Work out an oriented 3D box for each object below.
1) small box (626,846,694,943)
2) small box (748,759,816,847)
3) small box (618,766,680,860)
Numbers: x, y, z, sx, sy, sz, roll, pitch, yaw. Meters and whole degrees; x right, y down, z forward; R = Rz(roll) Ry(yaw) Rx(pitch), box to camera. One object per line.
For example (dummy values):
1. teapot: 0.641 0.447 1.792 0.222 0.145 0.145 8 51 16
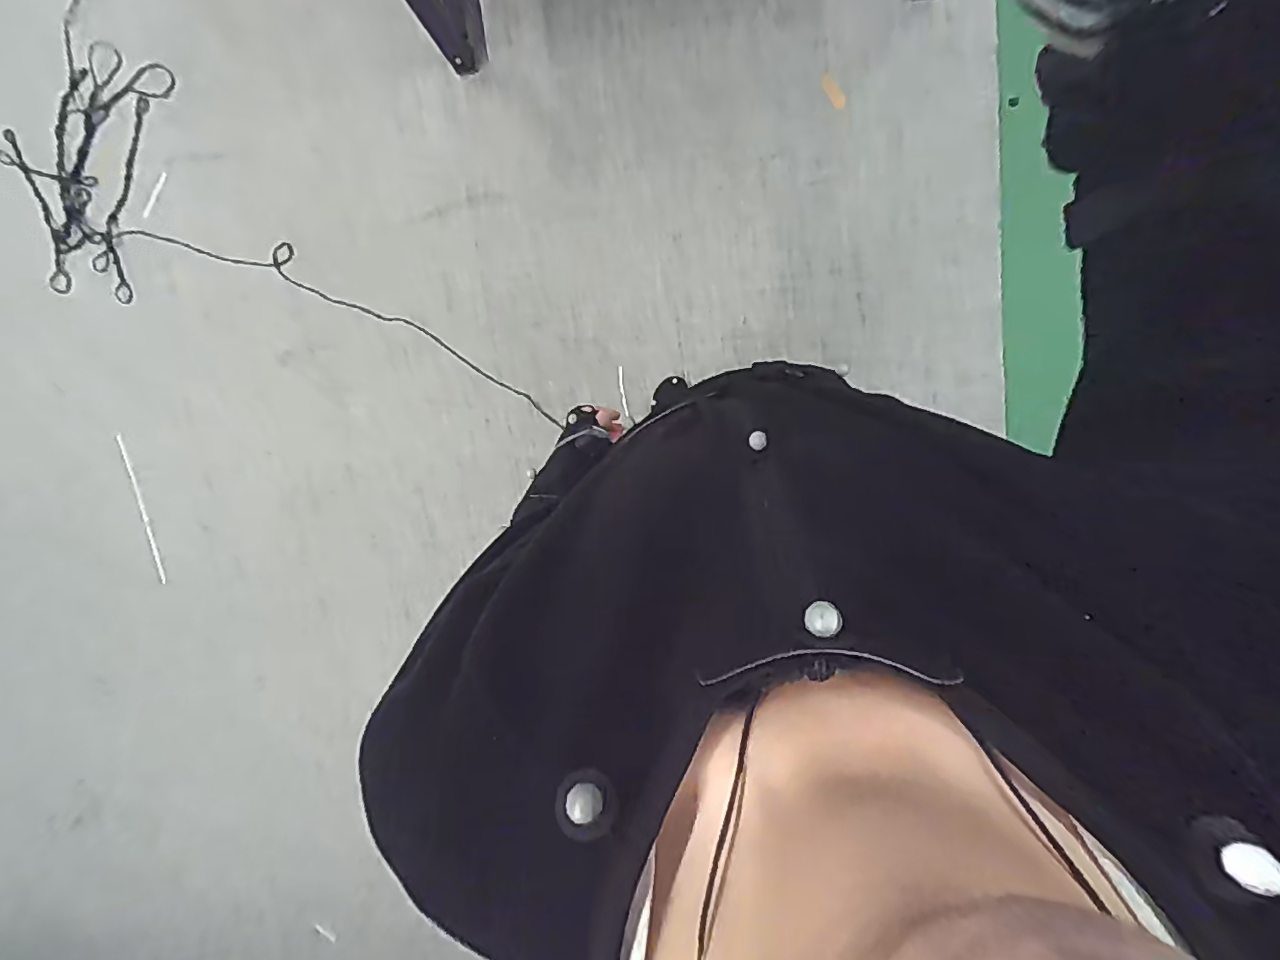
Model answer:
1. small box: 0.063 1.210 1.603 0.179 0.176 0.168 9 100 4
2. small box: 0.397 0.922 1.534 0.168 0.176 0.179 -2 99 6
3. small box: 0.030 0.959 1.568 0.168 0.176 0.179 -3 99 5
